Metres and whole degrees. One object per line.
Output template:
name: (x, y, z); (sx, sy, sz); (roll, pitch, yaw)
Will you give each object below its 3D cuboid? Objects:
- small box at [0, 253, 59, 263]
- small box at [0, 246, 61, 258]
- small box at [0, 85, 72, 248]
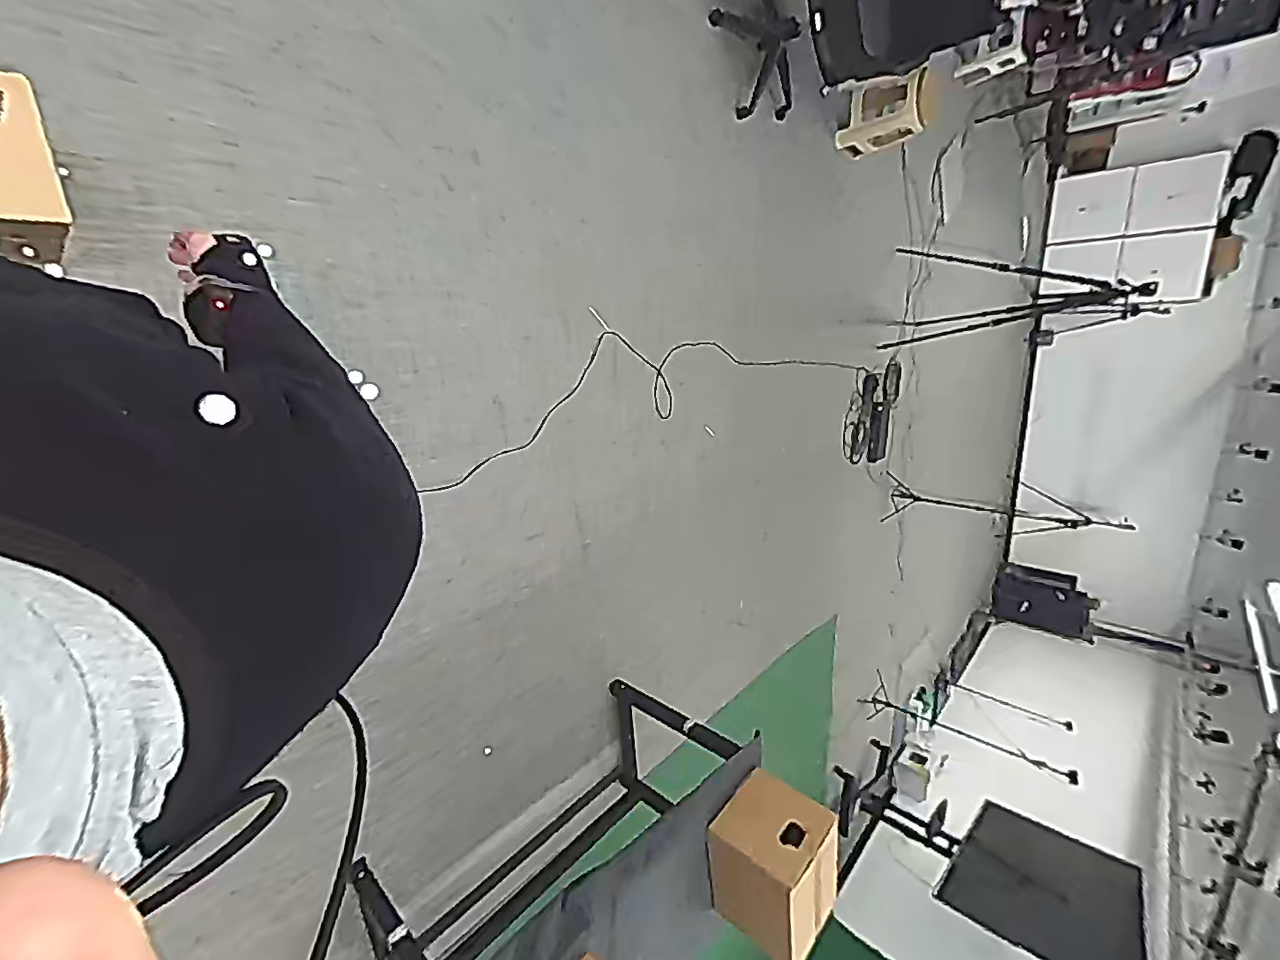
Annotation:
small box: (-1.136, -0.468, 0.921); (0.168, 0.176, 0.179); (-22, 116, -43)
small box: (-1.017, -0.437, 0.815); (0.168, 0.176, 0.179); (-22, 114, -44)
small box: (-0.894, -0.411, 0.709); (0.168, 0.176, 0.179); (-20, 115, -44)
